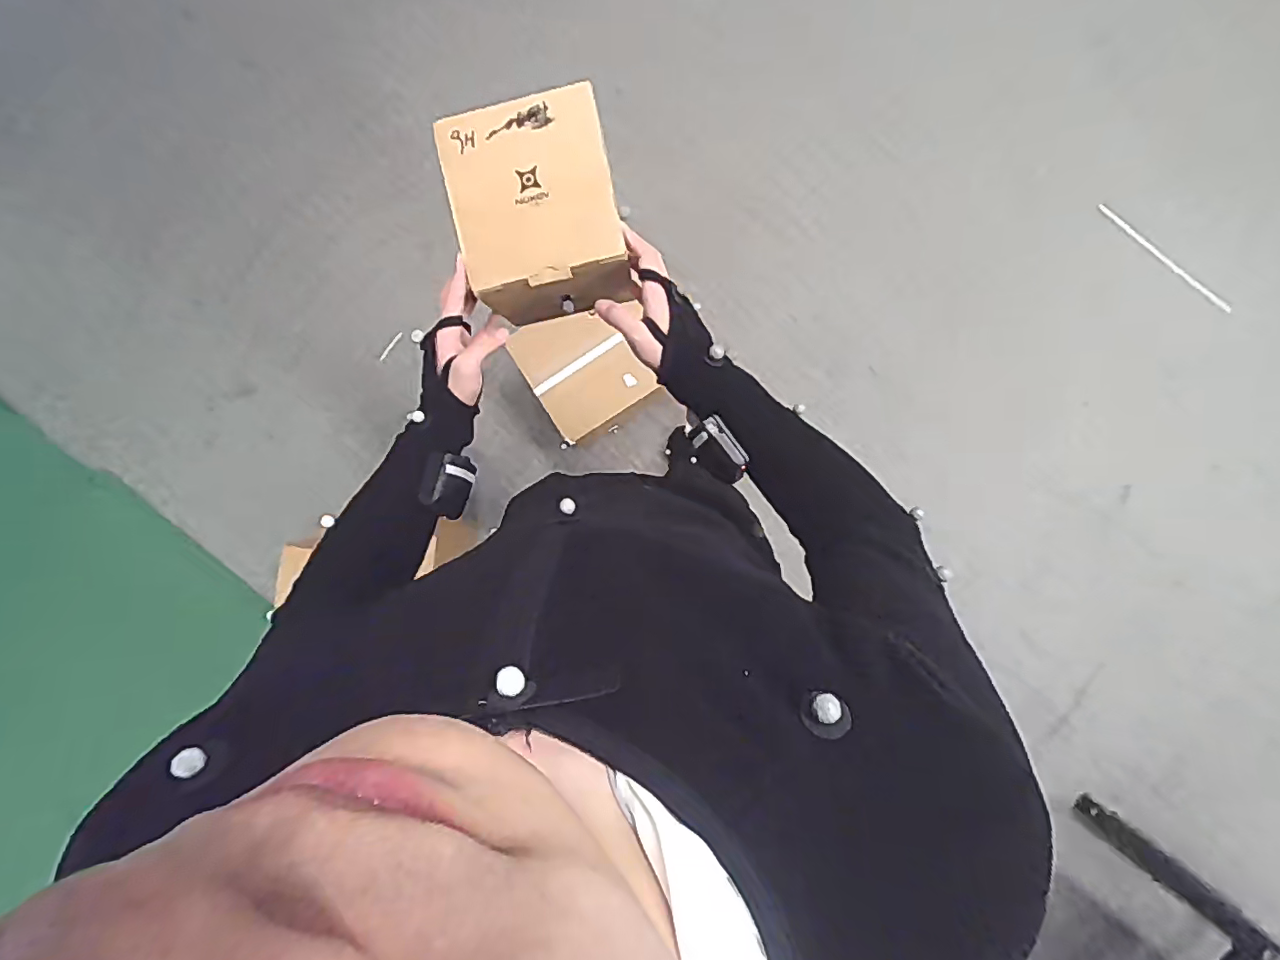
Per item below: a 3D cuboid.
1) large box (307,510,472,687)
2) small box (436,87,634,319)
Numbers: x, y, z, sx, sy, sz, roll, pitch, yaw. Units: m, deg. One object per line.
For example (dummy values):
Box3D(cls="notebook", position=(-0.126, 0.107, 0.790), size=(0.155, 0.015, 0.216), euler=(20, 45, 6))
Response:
Box3D(cls="large box", position=(-0.687, 0.311, 1.529), size=(0.320, 0.320, 0.408), euler=(7, 94, 2))
Box3D(cls="small box", position=(-0.104, -0.293, 0.620), size=(0.168, 0.176, 0.179), euler=(-12, 95, 3))
